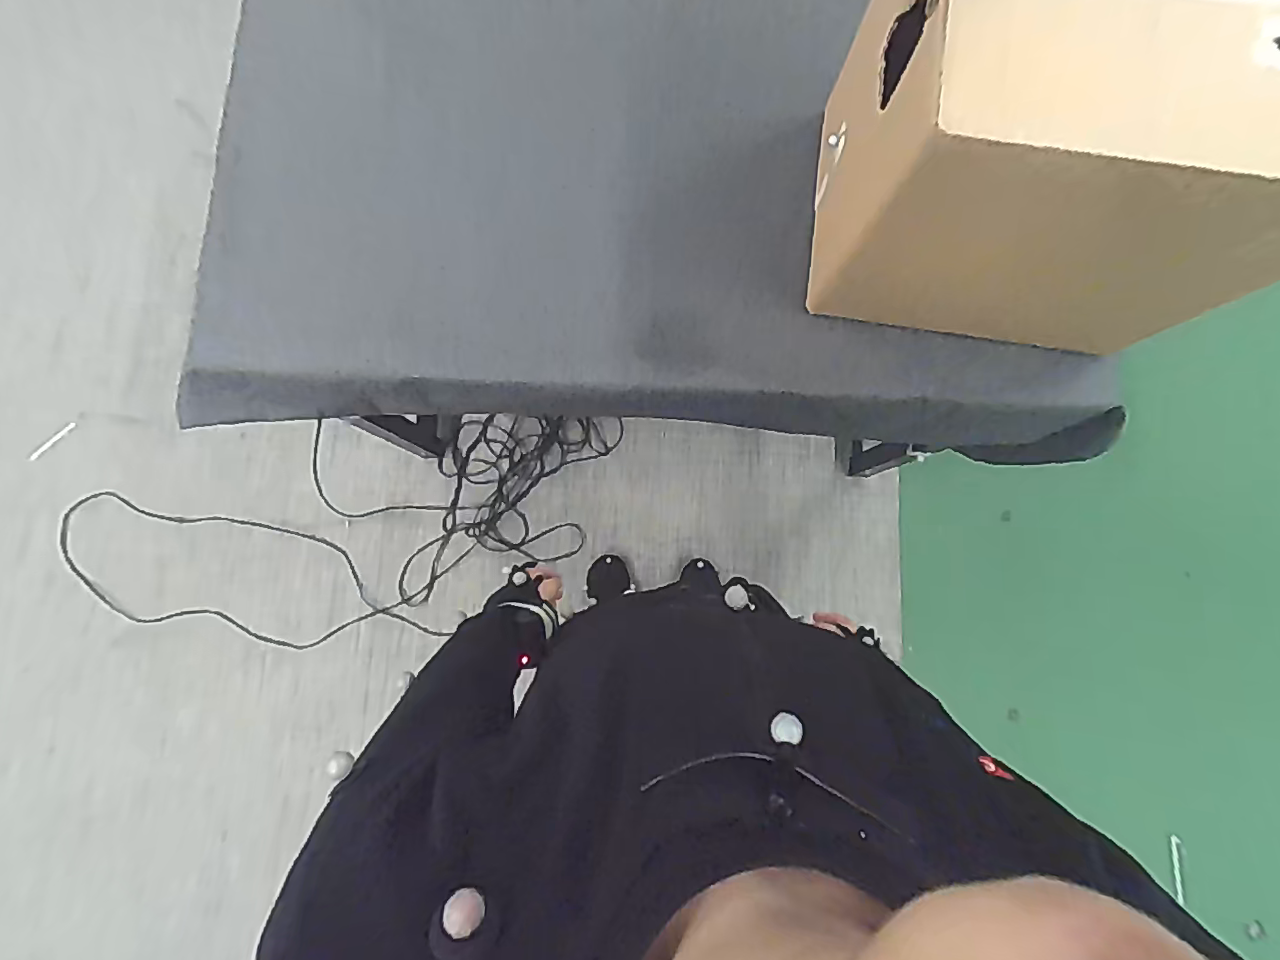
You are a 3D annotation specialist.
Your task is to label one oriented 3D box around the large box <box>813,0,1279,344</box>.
[{"bbox_3d":[0.438,-0.370,0.583,0.408,0.320,0.320,8,82,-1],"label":"large box"}]
